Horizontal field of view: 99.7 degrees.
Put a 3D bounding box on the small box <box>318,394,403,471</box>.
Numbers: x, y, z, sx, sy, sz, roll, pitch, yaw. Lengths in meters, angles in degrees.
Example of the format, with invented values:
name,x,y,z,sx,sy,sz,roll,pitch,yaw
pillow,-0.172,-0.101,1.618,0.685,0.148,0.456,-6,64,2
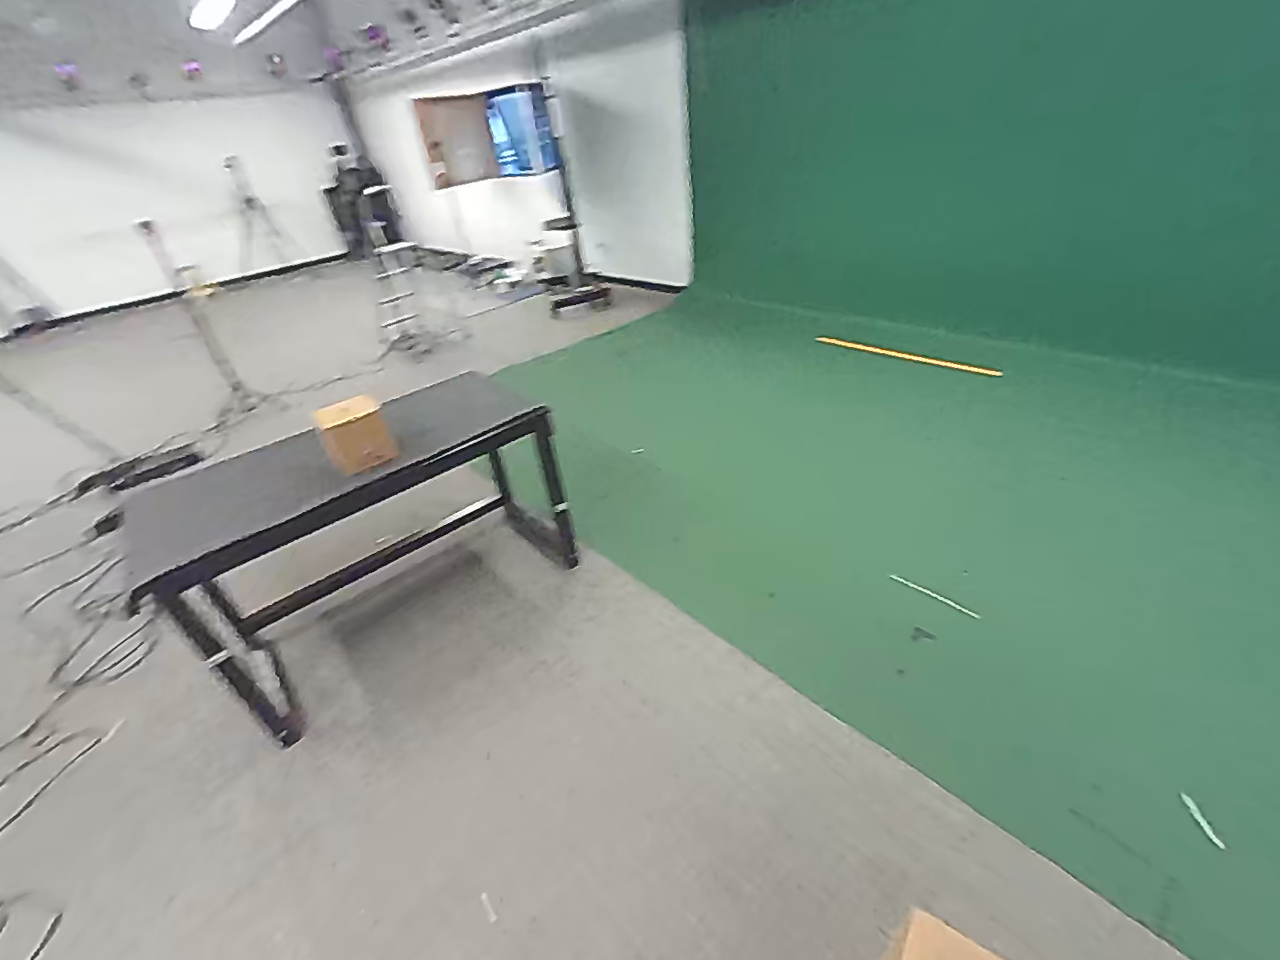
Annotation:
name,x,y,z,sx,sy,sz,roll,pitch,yaw
small box,-0.874,-0.149,1.697,0.168,0.176,0.179,-29,39,-28
